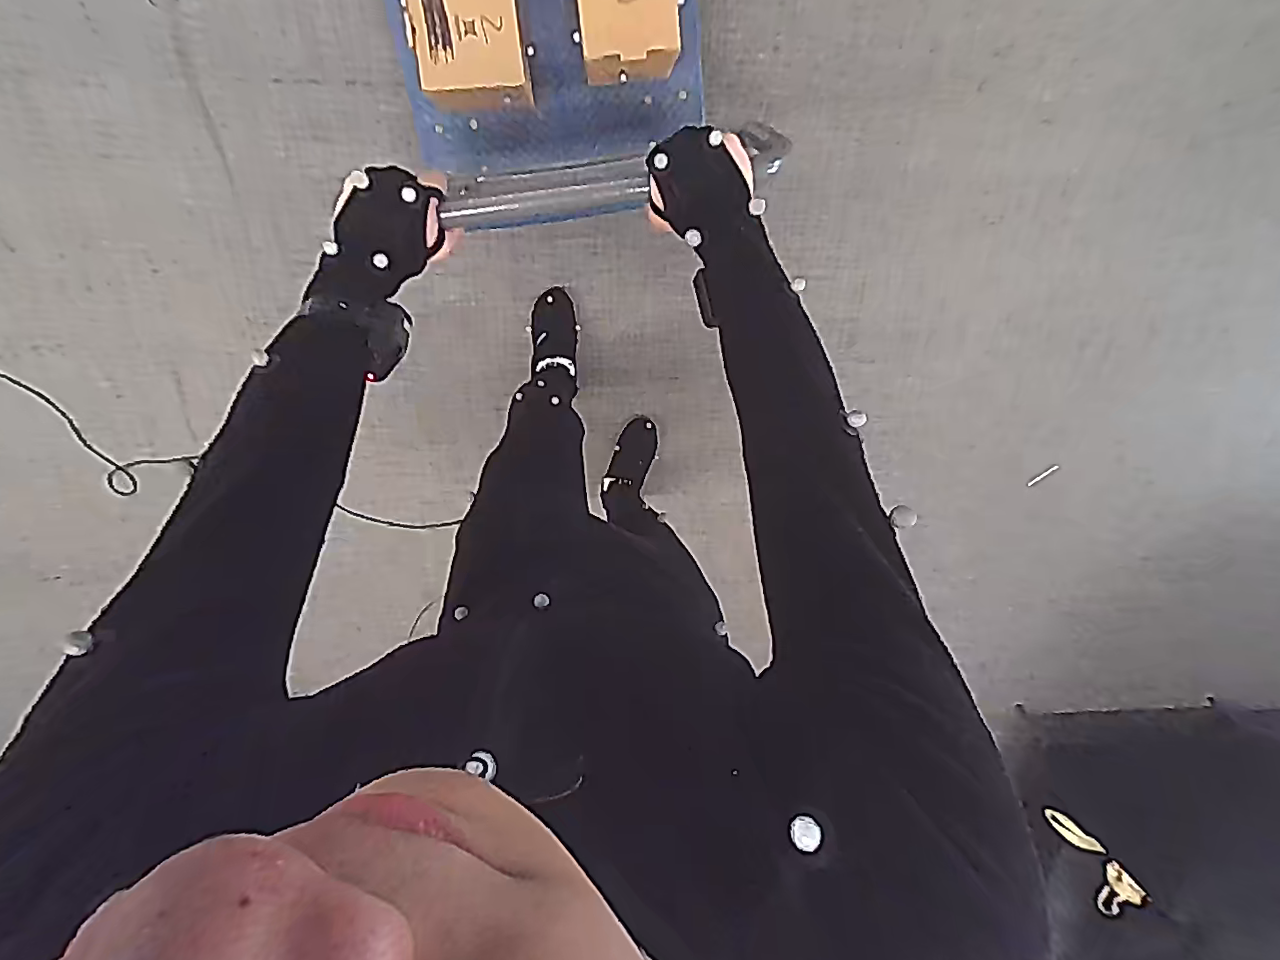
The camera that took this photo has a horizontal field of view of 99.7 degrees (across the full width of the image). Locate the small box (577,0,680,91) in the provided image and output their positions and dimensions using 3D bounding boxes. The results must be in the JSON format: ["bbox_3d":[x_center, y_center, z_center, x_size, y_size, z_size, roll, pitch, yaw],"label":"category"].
[{"bbox_3d":[-0.026,-0.834,0.974,0.168,0.176,0.179,-8,114,-1],"label":"small box"}]
